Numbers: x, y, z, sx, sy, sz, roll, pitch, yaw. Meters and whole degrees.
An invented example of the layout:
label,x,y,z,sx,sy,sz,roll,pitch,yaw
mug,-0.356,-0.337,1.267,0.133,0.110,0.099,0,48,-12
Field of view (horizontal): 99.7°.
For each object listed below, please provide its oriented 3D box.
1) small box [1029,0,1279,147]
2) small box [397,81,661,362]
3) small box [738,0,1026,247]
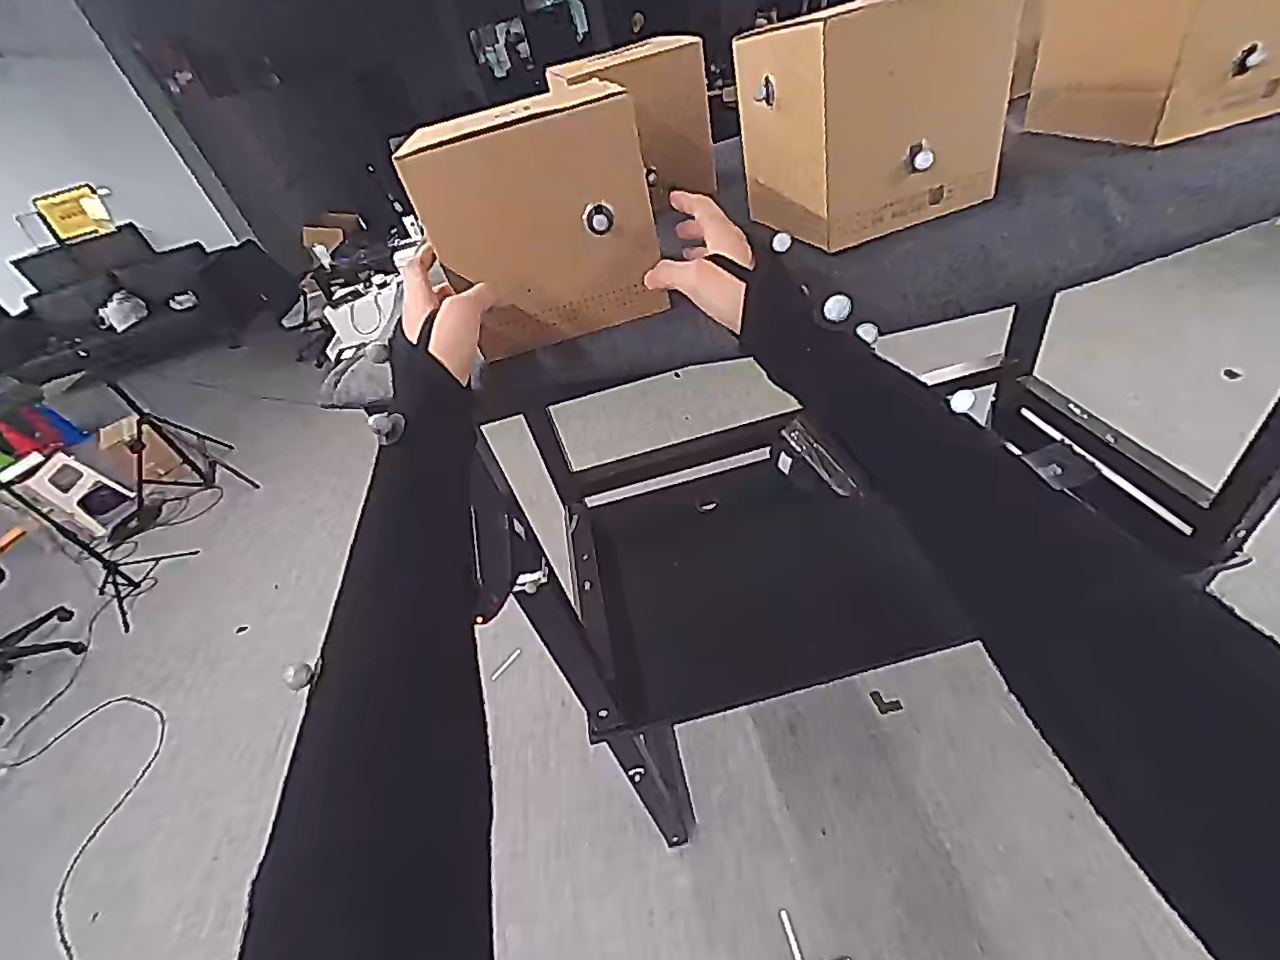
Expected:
label,x,y,z,sx,sy,sz,roll,pitch,yaw
small box,0.525,-0.441,0.523,0.168,0.176,0.179,-16,39,0
small box,-0.085,-0.231,0.485,0.179,0.176,0.168,-17,40,-2
small box,0.206,-0.335,0.504,0.168,0.176,0.179,-20,38,-4
